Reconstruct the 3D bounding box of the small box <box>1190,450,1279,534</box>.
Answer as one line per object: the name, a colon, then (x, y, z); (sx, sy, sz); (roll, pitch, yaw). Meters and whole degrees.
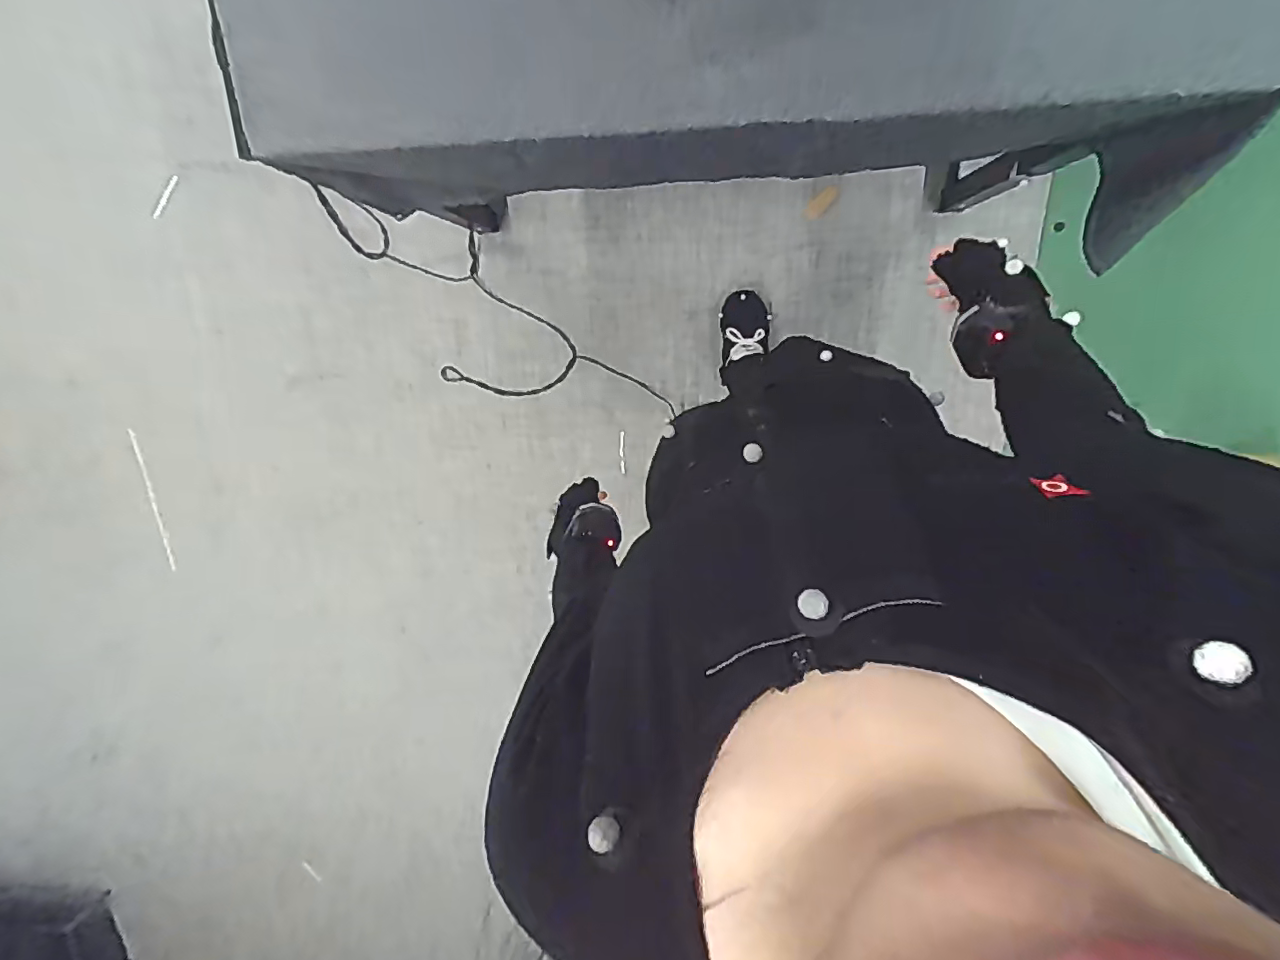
small box: (1.467, 0.029, 1.266); (0.179, 0.176, 0.168); (5, 106, 5)
